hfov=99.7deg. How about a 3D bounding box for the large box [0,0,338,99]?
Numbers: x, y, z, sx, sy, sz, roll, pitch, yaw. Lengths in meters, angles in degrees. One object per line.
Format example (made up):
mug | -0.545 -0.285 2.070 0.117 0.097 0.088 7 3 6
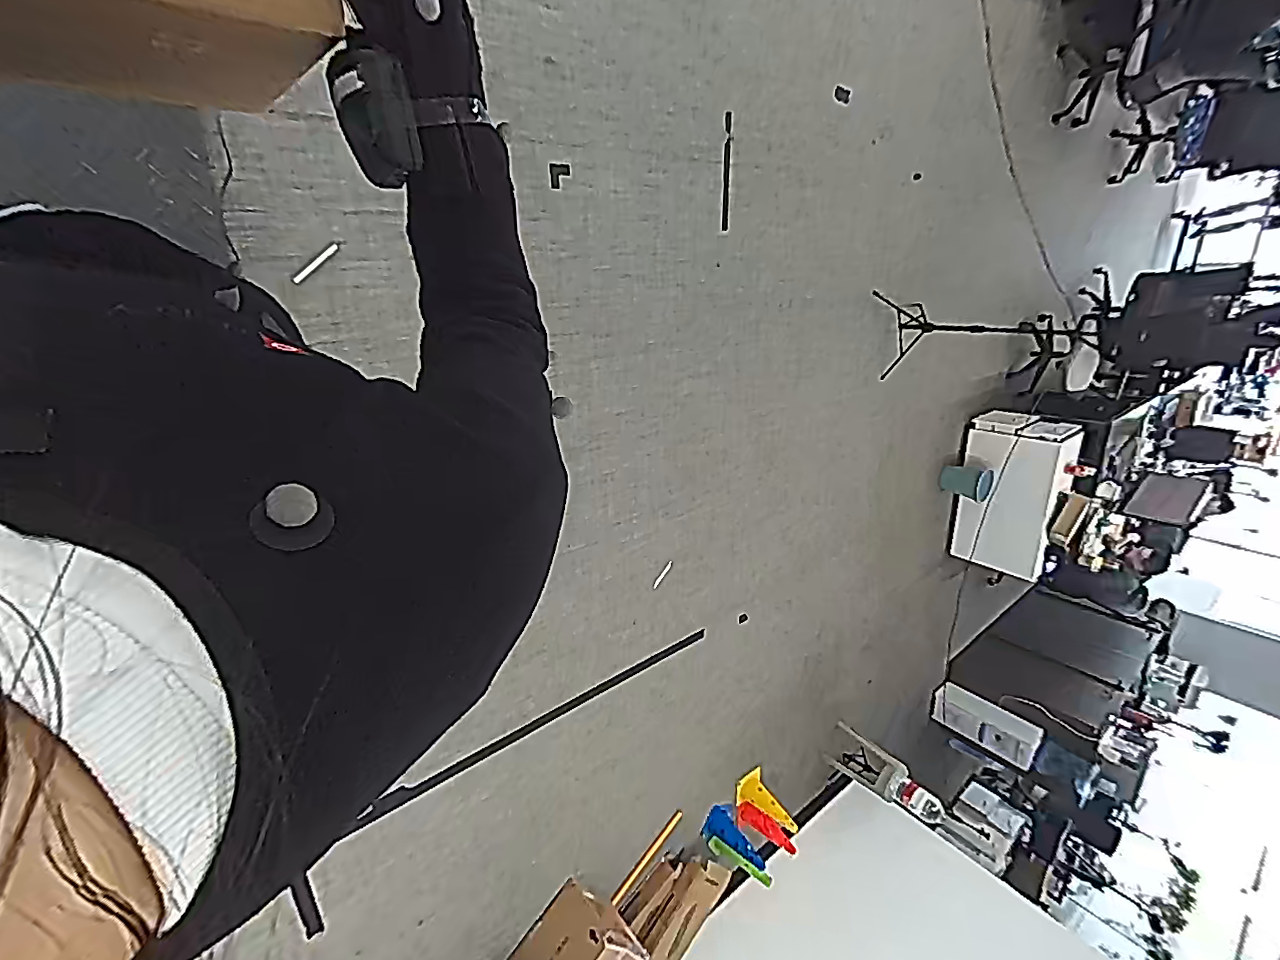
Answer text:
large box | -0.418 -0.393 0.232 0.408 0.320 0.320 -19 123 -36
